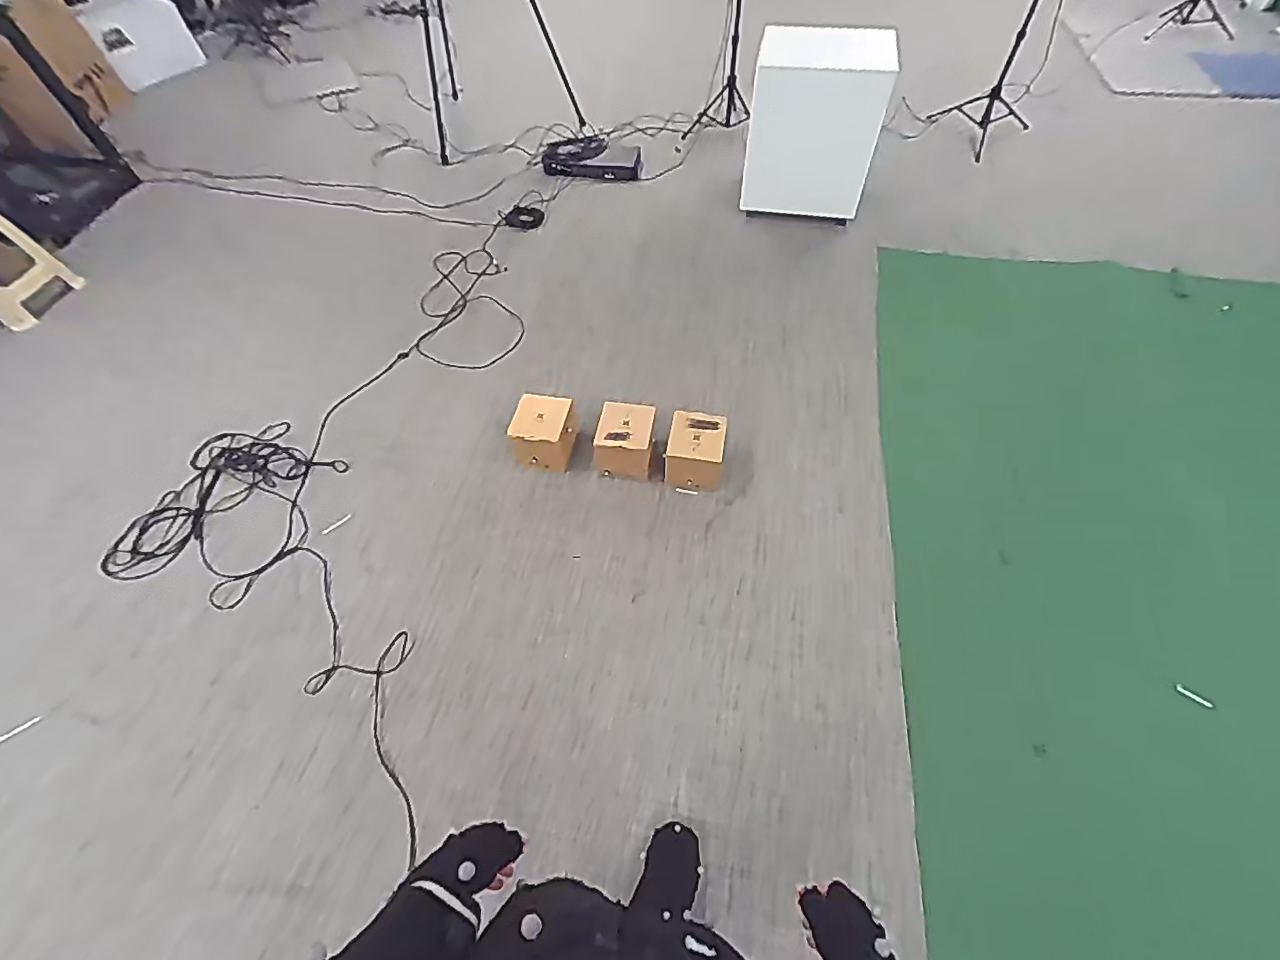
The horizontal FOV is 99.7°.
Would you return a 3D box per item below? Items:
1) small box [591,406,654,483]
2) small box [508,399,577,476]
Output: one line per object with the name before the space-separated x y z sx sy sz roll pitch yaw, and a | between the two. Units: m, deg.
small box | -0.047 -0.109 1.722 0.168 0.176 0.179 7 56 8
small box | -0.310 -0.137 1.757 0.168 0.176 0.179 7 57 8
